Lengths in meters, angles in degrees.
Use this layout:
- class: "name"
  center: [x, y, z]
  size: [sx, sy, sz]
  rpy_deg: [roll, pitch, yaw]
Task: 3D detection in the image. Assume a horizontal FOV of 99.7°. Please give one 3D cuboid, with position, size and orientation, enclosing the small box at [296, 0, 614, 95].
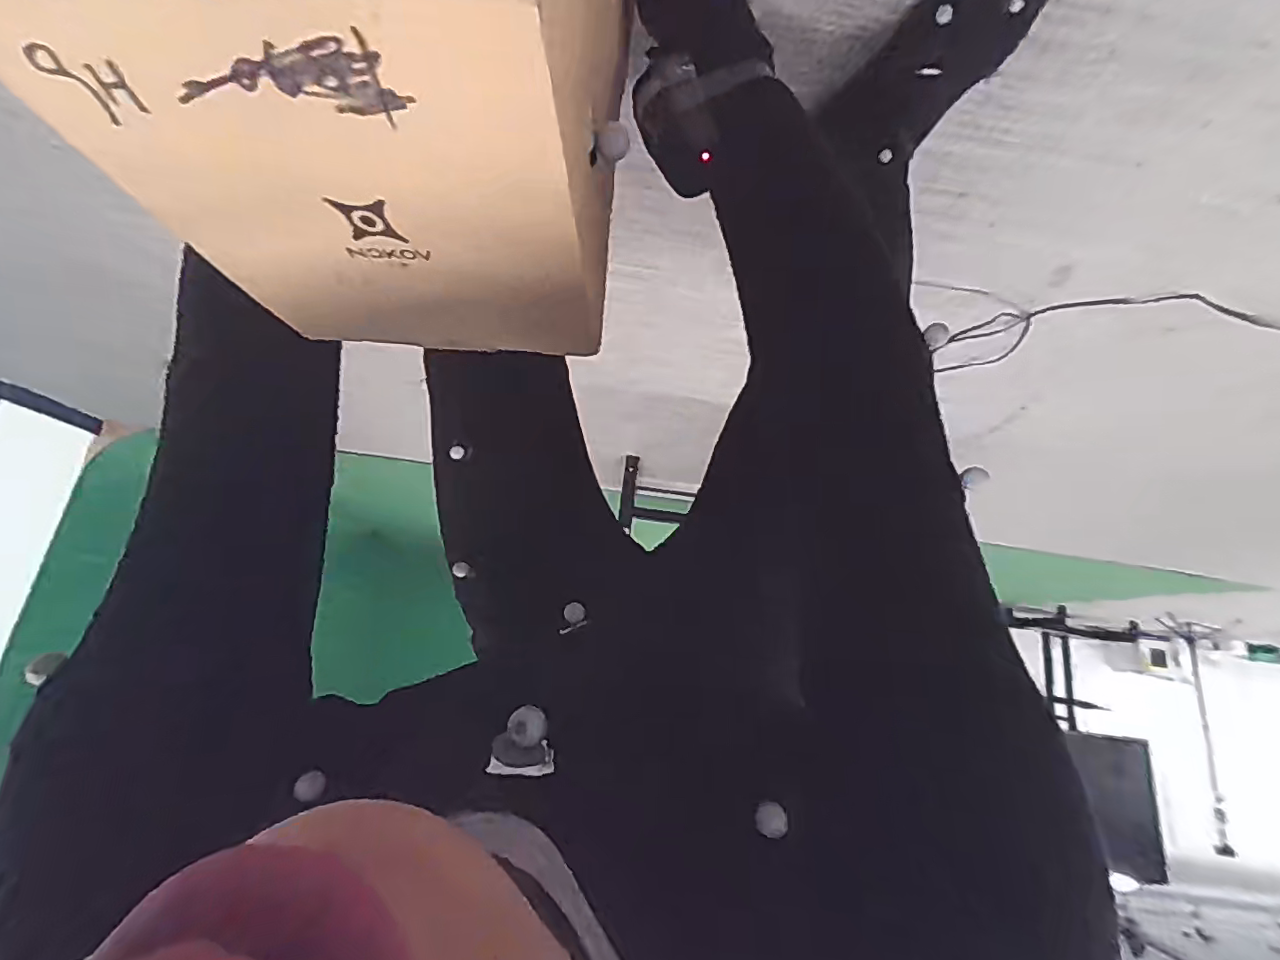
- class: "small box"
  center: [-0.097, -0.338, 0.271]
  size: [0.168, 0.176, 0.179]
  rpy_deg: [2, 164, 4]
